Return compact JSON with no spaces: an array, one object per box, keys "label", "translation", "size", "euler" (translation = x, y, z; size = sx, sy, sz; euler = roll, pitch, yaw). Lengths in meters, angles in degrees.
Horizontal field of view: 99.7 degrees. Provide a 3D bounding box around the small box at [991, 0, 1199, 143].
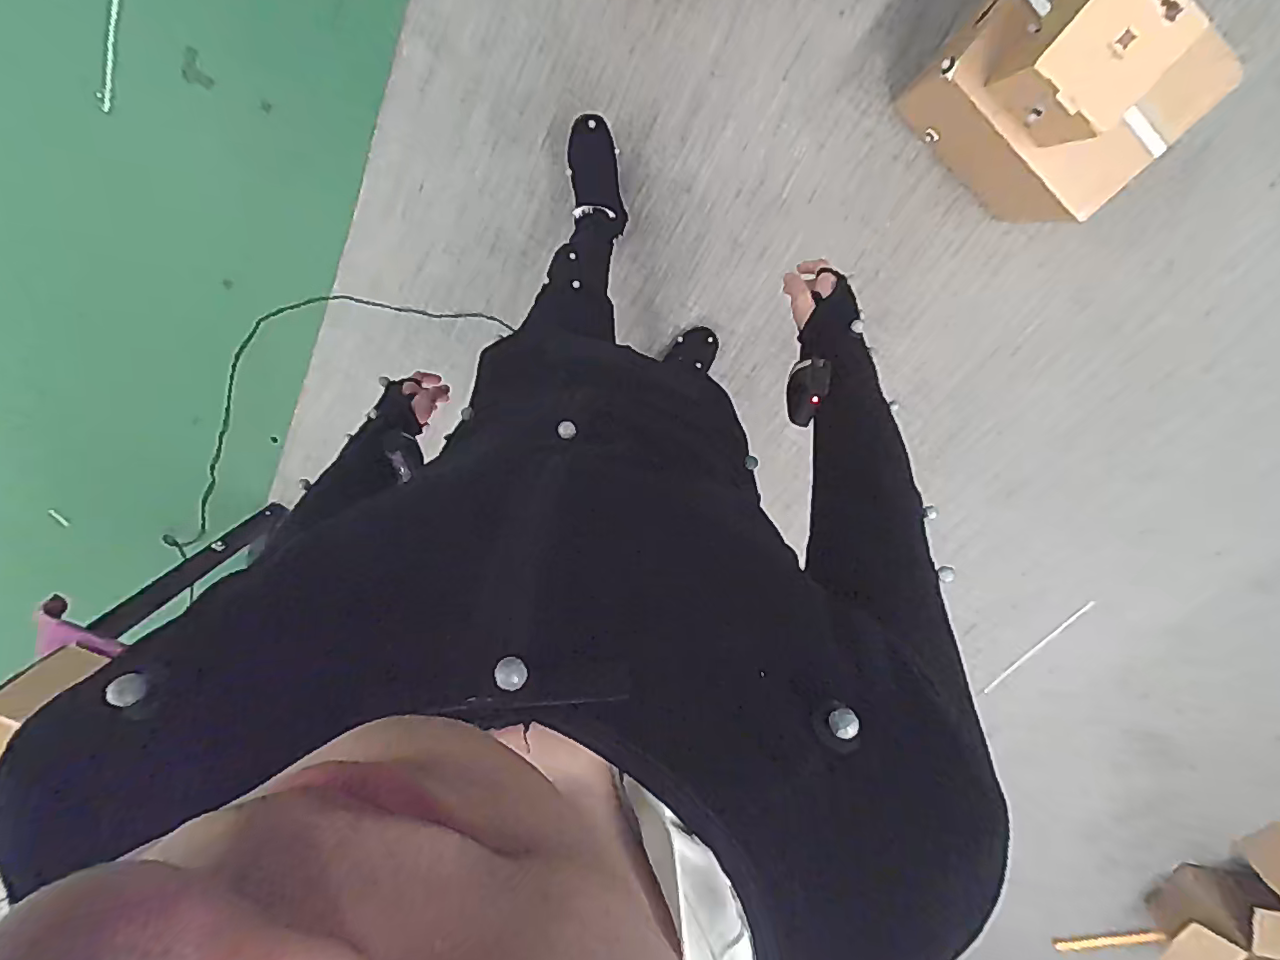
[{"label":"small box","translation":[0.719,-0.689,0.887],"size":[0.168,0.176,0.179],"euler":[35,115,-11]}]
